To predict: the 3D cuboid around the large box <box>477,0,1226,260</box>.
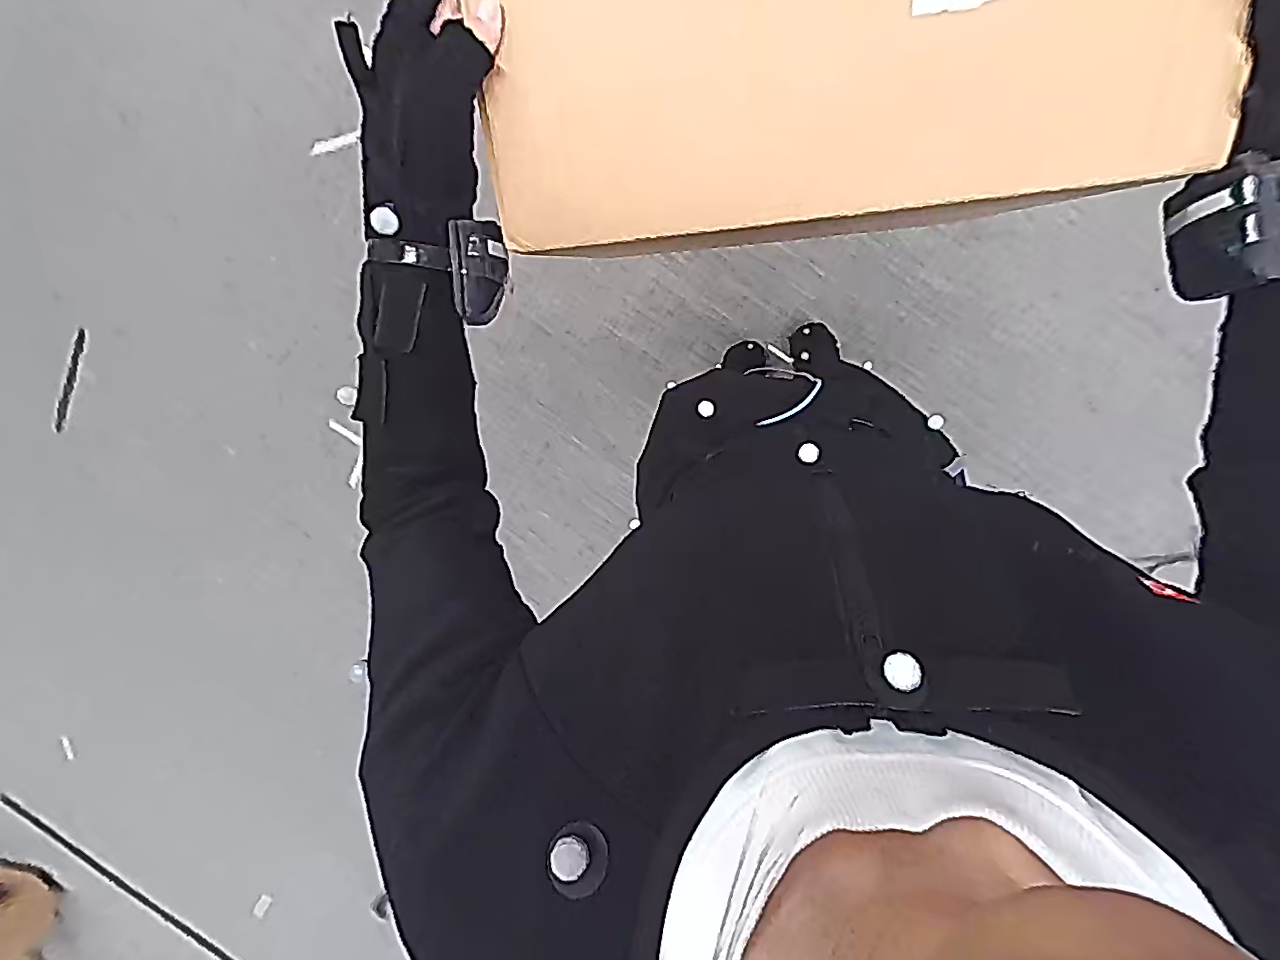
[{"bbox_3d":[0.113,-0.365,0.419,0.408,0.320,0.320,-4,111,9],"label":"large box"}]
